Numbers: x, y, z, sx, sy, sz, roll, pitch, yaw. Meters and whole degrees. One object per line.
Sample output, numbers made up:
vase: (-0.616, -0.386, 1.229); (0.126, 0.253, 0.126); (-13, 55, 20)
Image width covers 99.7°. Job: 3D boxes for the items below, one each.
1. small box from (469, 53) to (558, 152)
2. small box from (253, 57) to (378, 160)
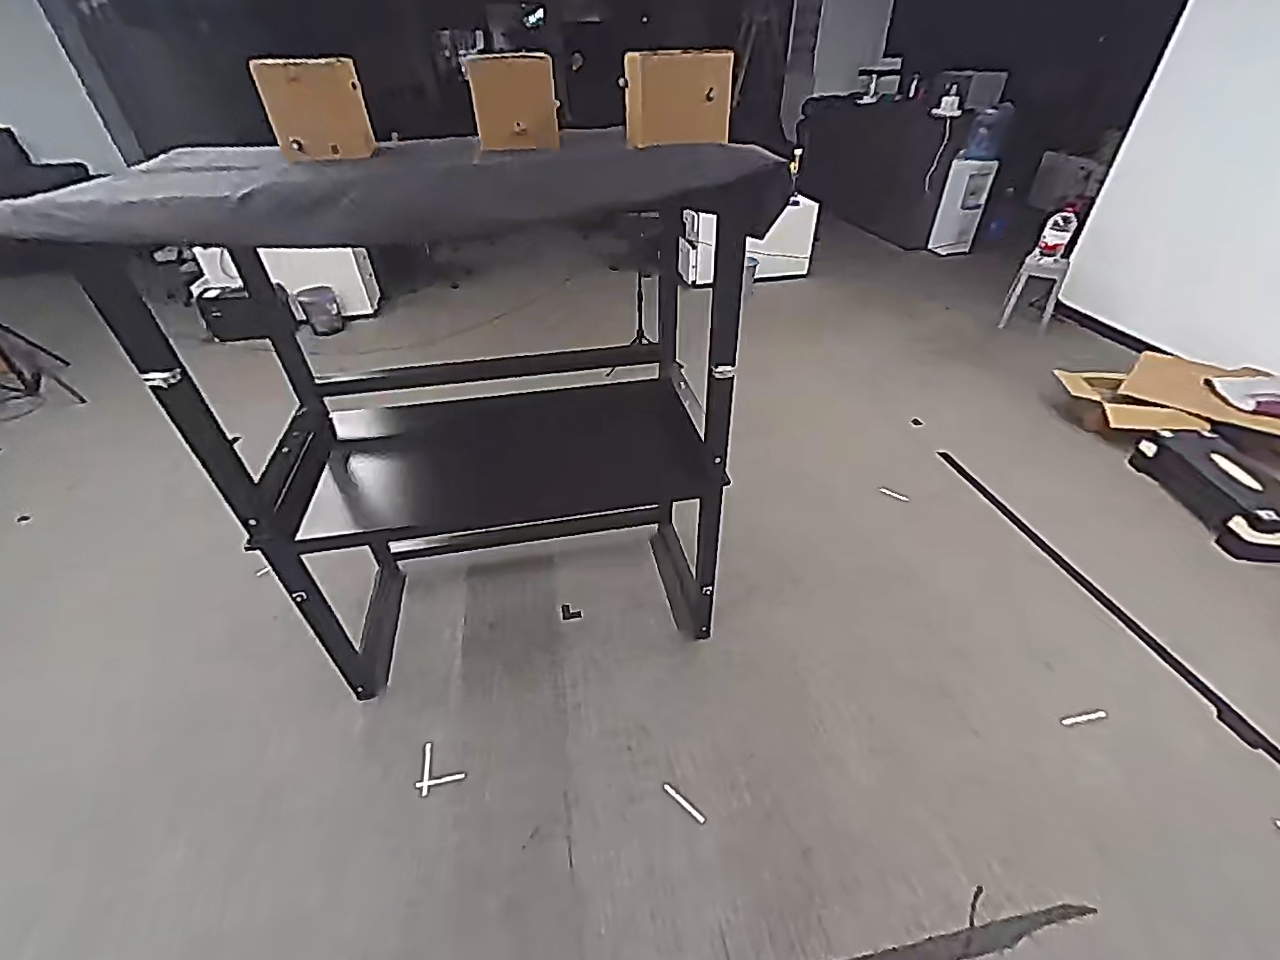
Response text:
small box: (-0.279, -0.852, 1.220); (0.179, 0.176, 0.168); (-8, 39, -9)
small box: (-0.677, -0.790, 1.153); (0.168, 0.176, 0.179); (-10, 40, -11)
